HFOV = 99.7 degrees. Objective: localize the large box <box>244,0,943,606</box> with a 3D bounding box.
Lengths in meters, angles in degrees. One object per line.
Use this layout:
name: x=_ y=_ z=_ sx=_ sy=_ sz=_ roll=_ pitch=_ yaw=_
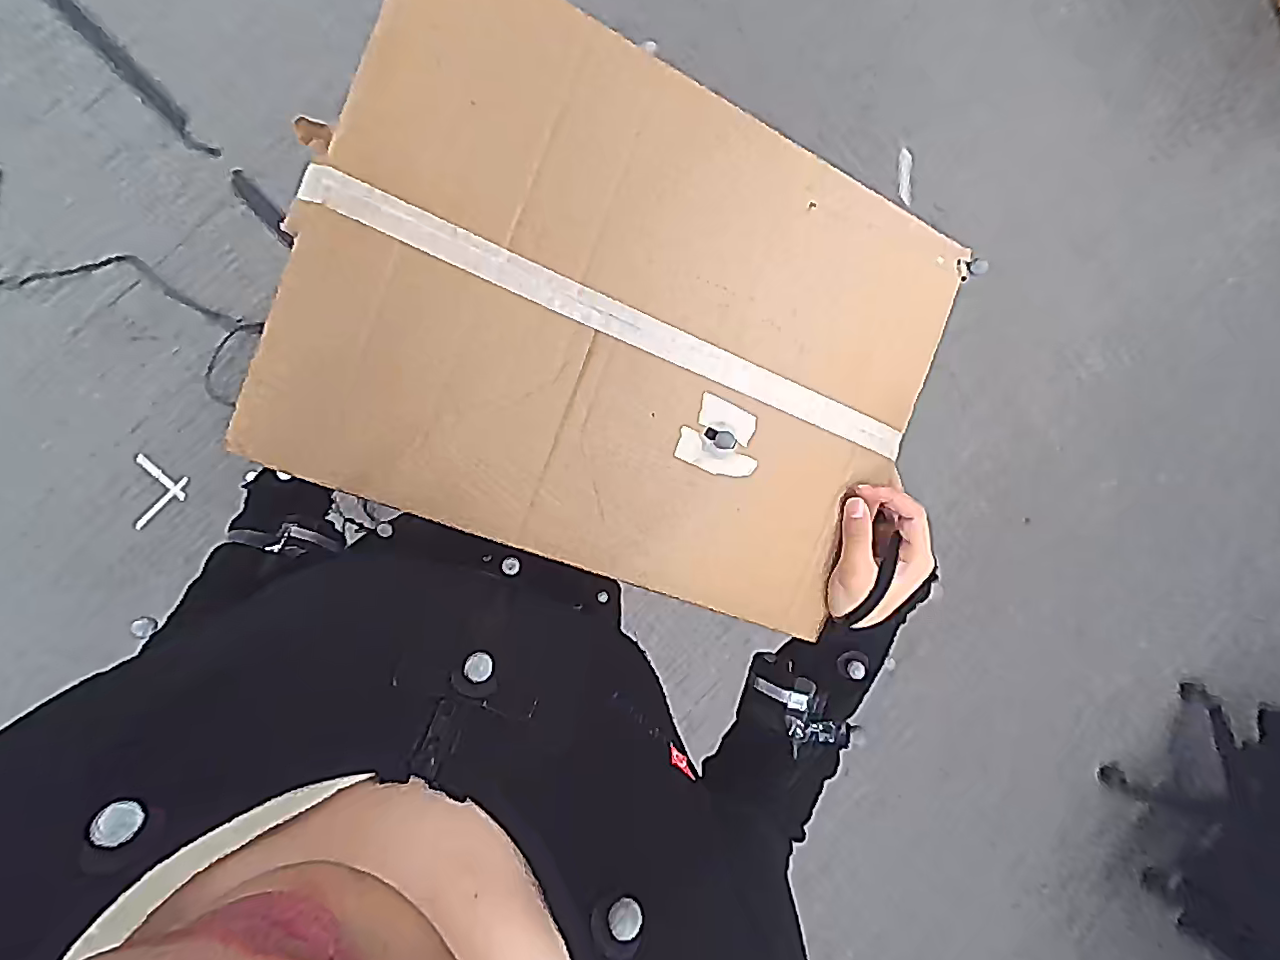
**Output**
large box: x=-0.037 y=-0.120 z=0.497 sx=0.408 sy=0.320 sz=0.320 roll=19 pitch=92 yaw=-17
